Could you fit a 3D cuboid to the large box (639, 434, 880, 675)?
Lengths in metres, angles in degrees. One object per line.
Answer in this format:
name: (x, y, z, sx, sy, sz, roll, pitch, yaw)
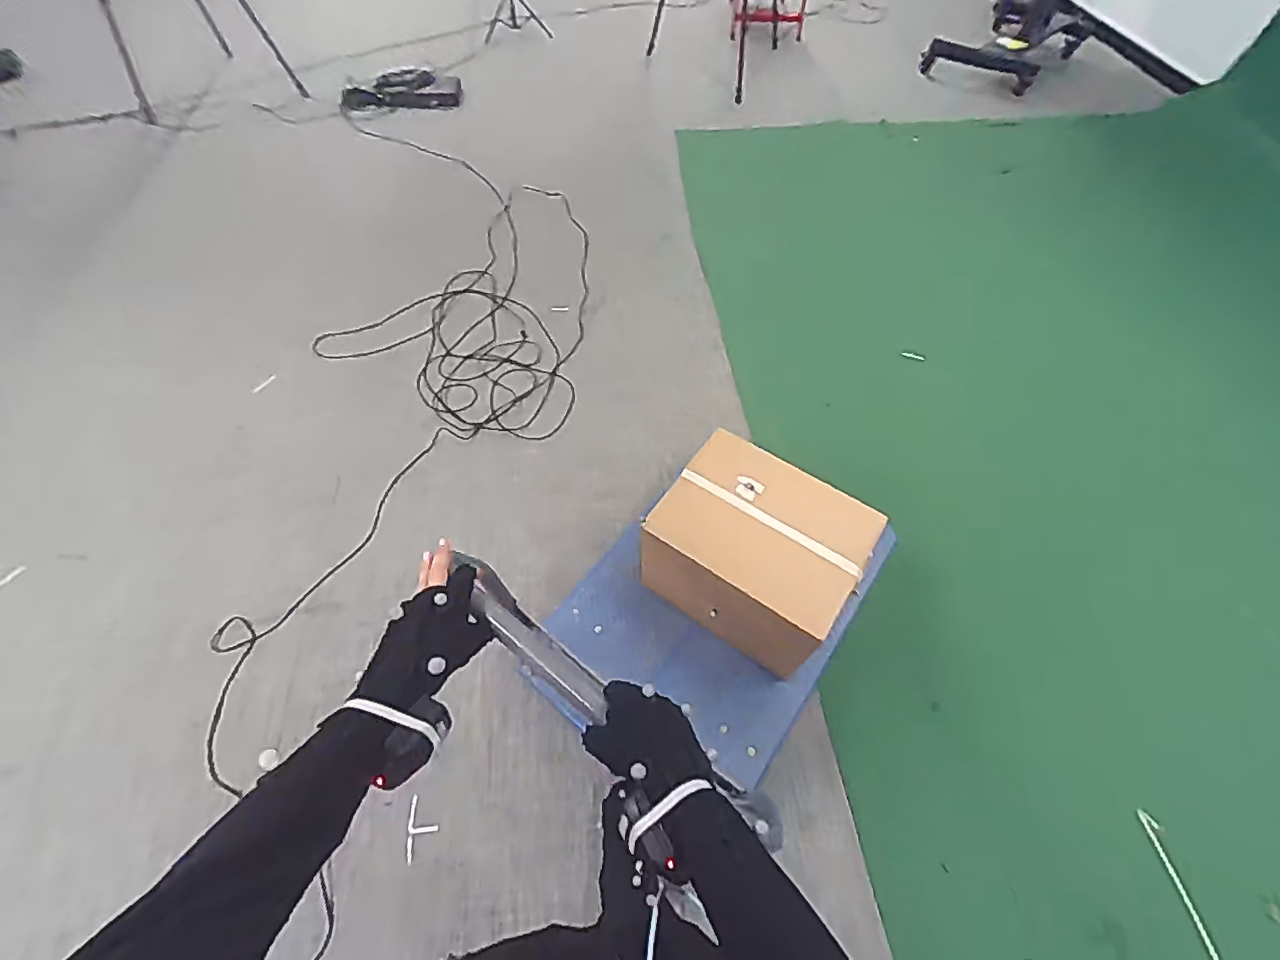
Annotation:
large box: (0.247, 0.172, 1.223, 0.408, 0.320, 0.320, 31, 61, 18)
